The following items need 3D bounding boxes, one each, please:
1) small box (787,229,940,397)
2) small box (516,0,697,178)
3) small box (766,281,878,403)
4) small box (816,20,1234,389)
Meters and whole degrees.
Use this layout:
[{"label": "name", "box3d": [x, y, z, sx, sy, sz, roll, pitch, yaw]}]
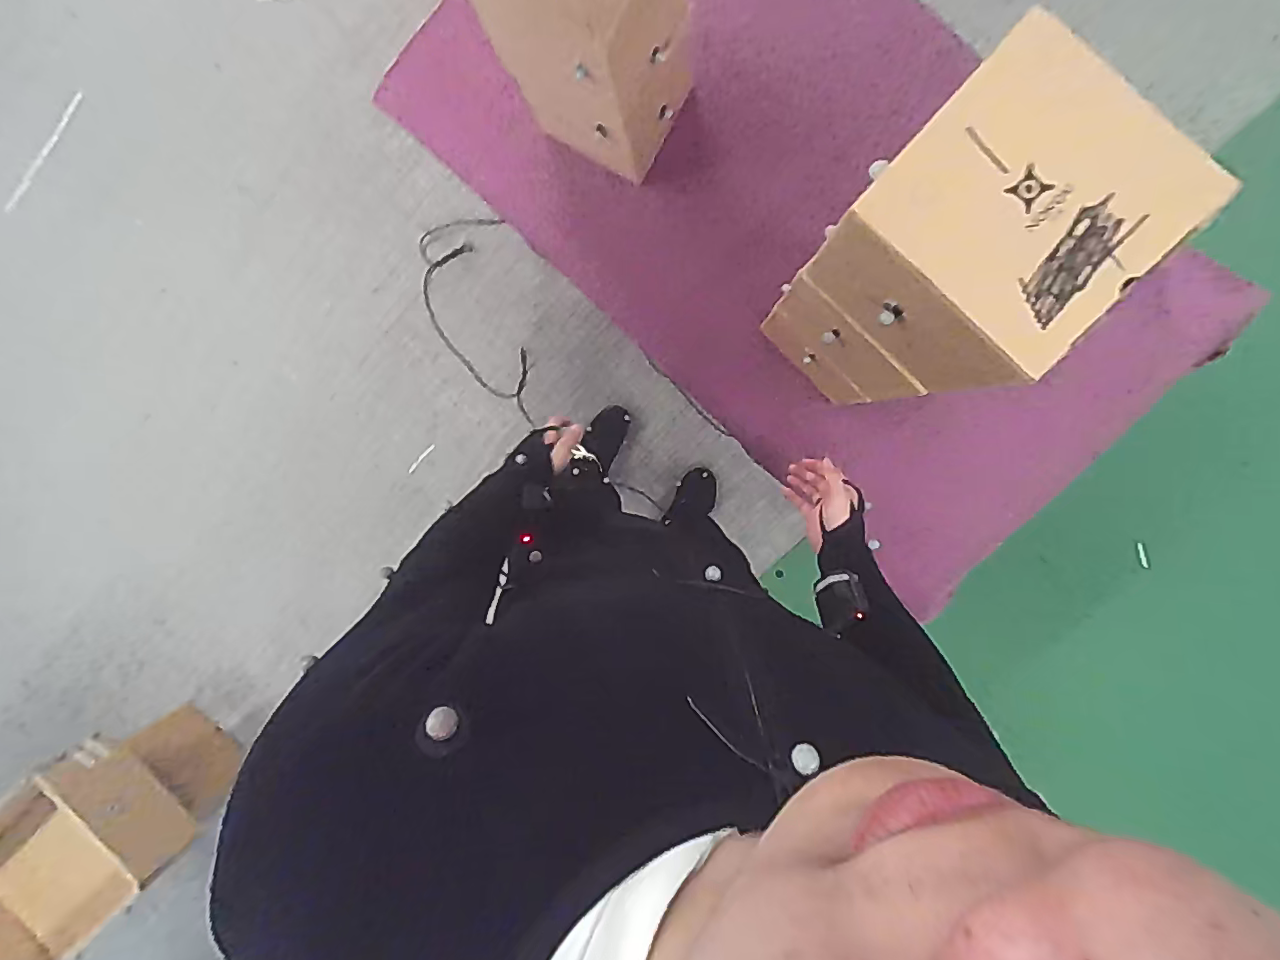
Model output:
[{"label": "small box", "box3d": [0.287, -0.207, 0.601, 0.179, 0.176, 0.168, 44, 99, 1]}, {"label": "small box", "box3d": [-0.037, -0.558, 0.751, 0.179, 0.176, 0.168, 31, 97, 1]}, {"label": "small box", "box3d": [0.300, -0.222, 0.763, 0.168, 0.176, 0.179, -44, 91, 8]}, {"label": "small box", "box3d": [0.275, -0.190, 0.438, 0.179, 0.176, 0.168, 43, 98, 0]}]
